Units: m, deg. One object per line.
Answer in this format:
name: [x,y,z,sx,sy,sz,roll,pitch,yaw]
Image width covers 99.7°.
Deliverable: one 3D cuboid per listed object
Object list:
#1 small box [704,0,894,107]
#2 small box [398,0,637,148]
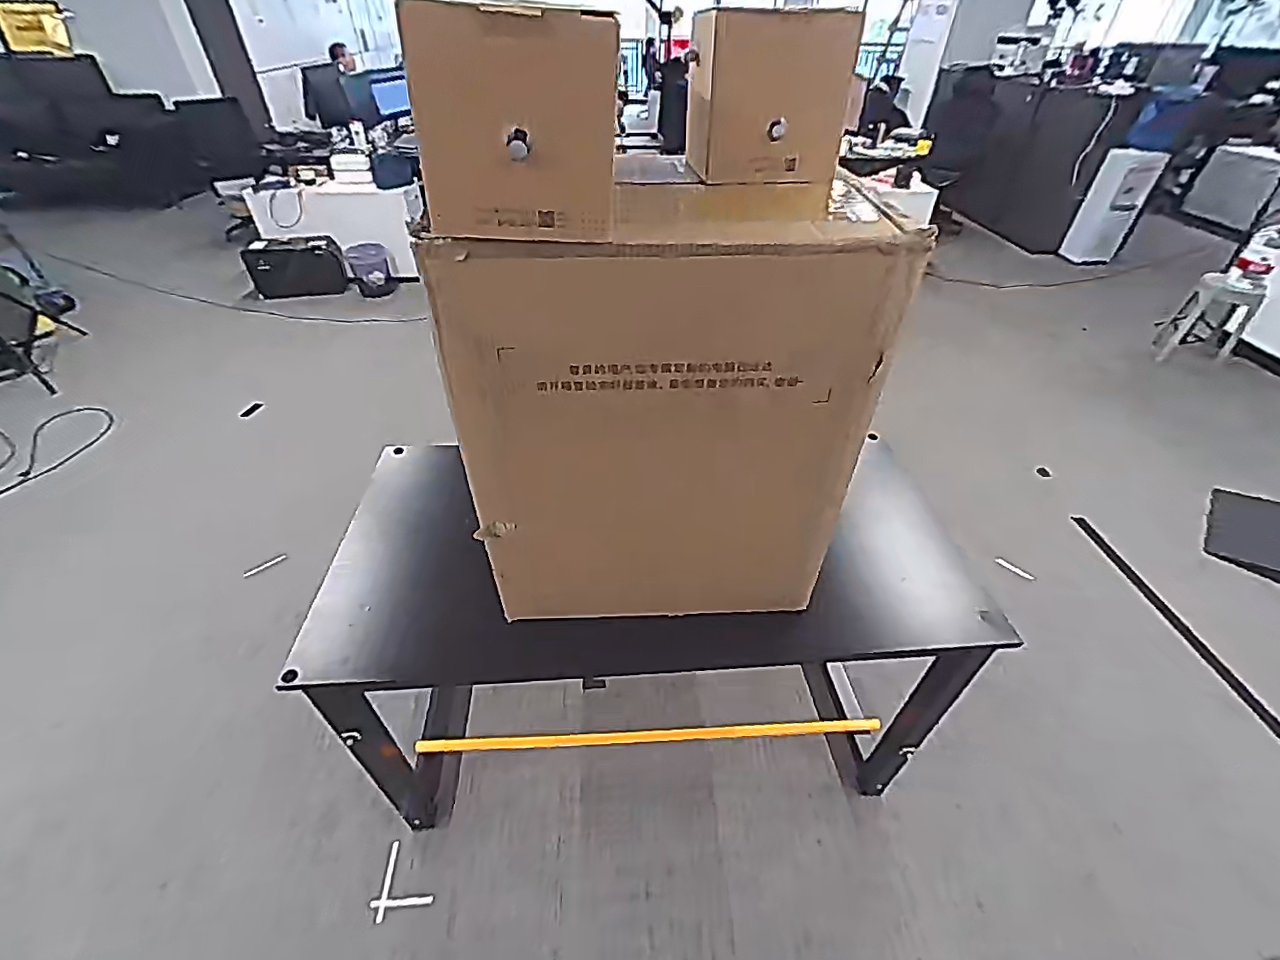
small box: [0.171,-0.531,0.609,0.168,0.176,0.179,-4,40,-4]
small box: [-0.093,-0.380,0.429,0.168,0.176,0.179,-2,44,-9]
